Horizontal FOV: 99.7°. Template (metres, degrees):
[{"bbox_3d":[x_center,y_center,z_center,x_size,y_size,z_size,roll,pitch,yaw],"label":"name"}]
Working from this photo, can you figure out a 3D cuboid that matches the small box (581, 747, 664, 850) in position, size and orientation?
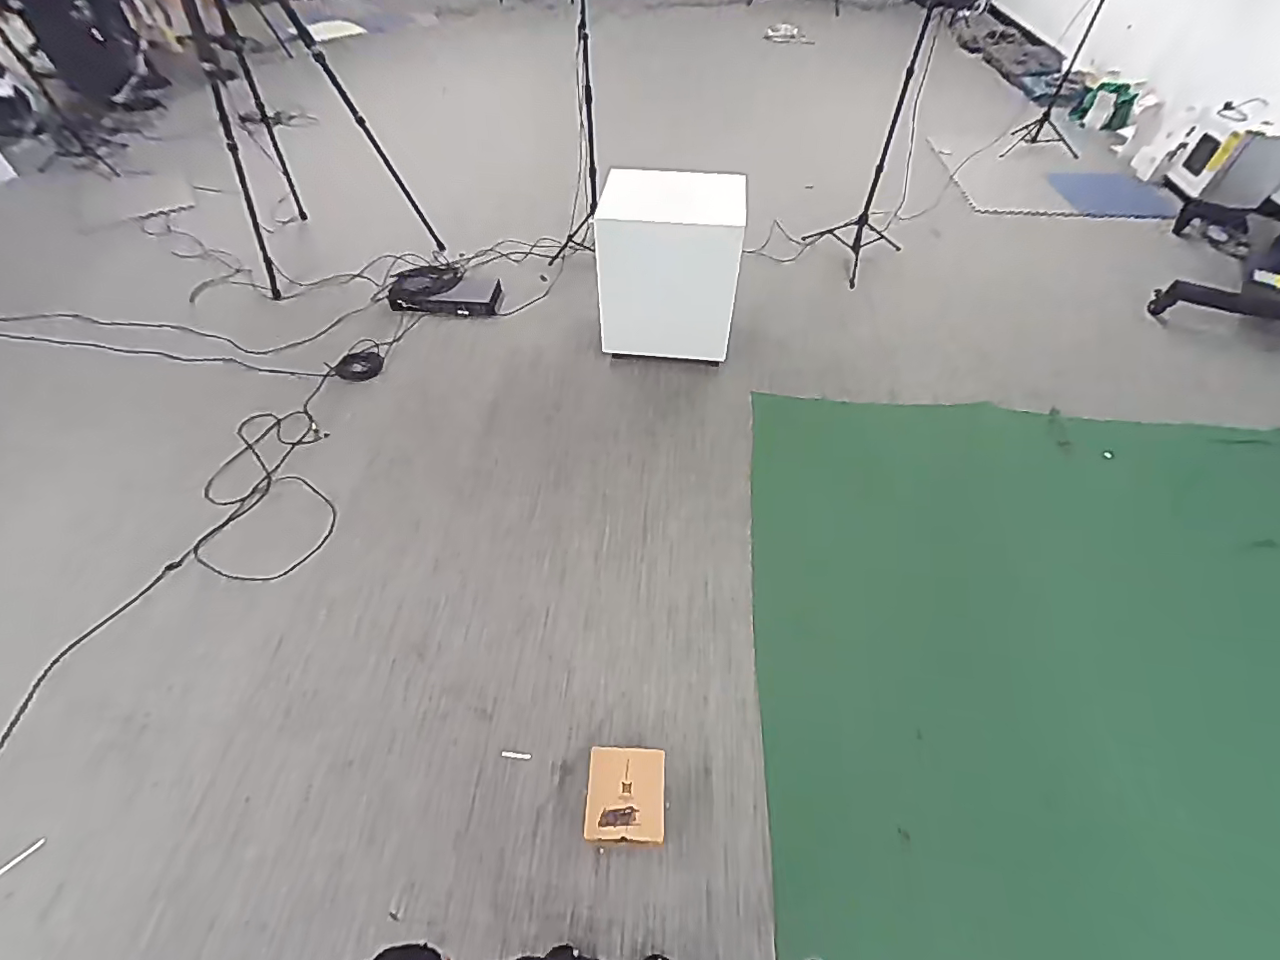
[{"bbox_3d":[-0.033,0.713,1.208,0.168,0.176,0.179,2,51,2],"label":"small box"}]
